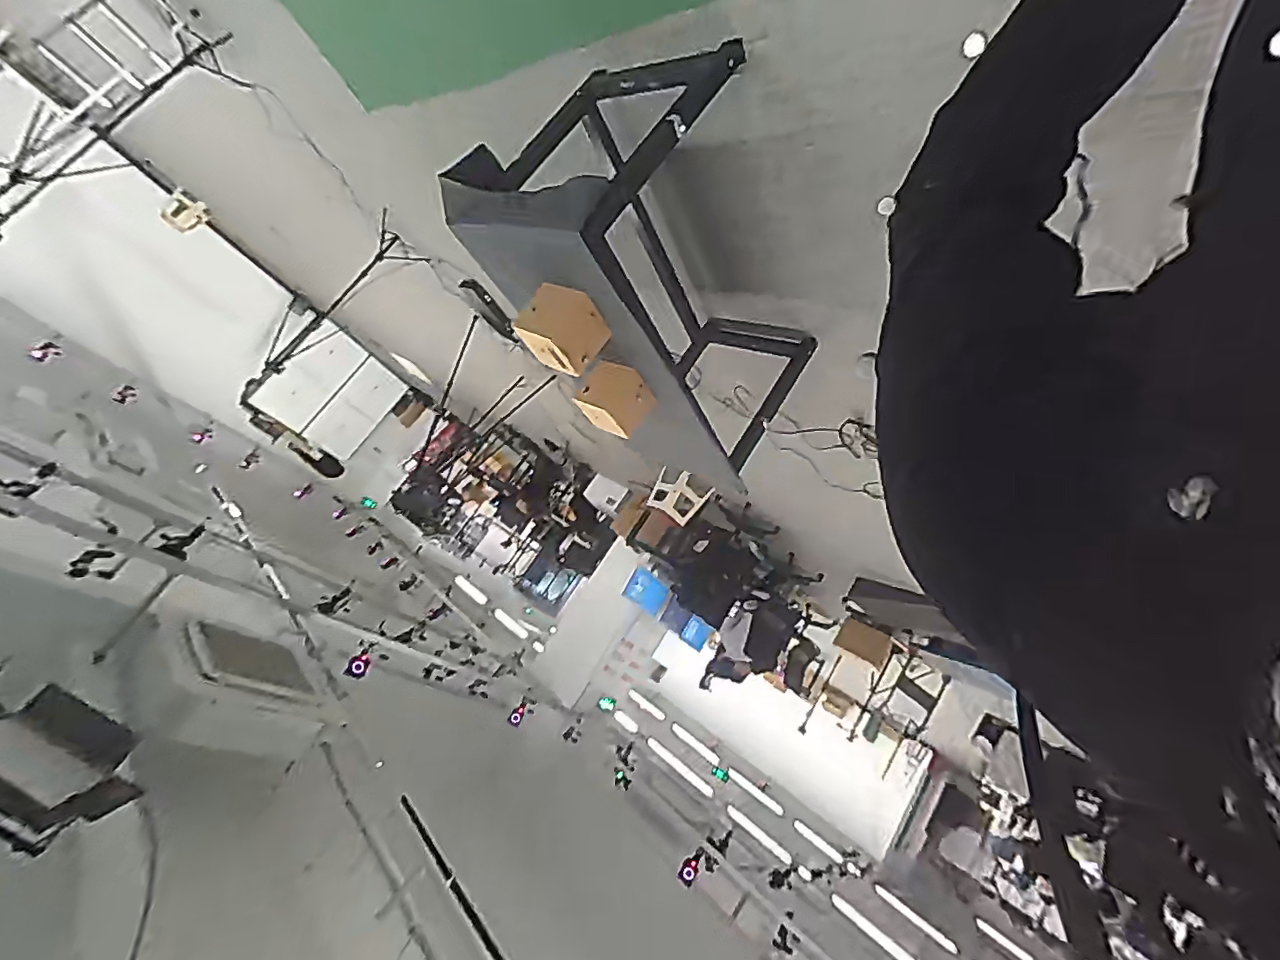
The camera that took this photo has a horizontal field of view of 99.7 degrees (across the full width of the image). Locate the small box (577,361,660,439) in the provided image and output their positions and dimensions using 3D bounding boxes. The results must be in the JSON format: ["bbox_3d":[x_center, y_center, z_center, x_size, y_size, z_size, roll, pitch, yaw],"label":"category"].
[{"bbox_3d":[-0.068,-0.268,1.779,0.179,0.176,0.168,24,165,40],"label":"small box"}]
